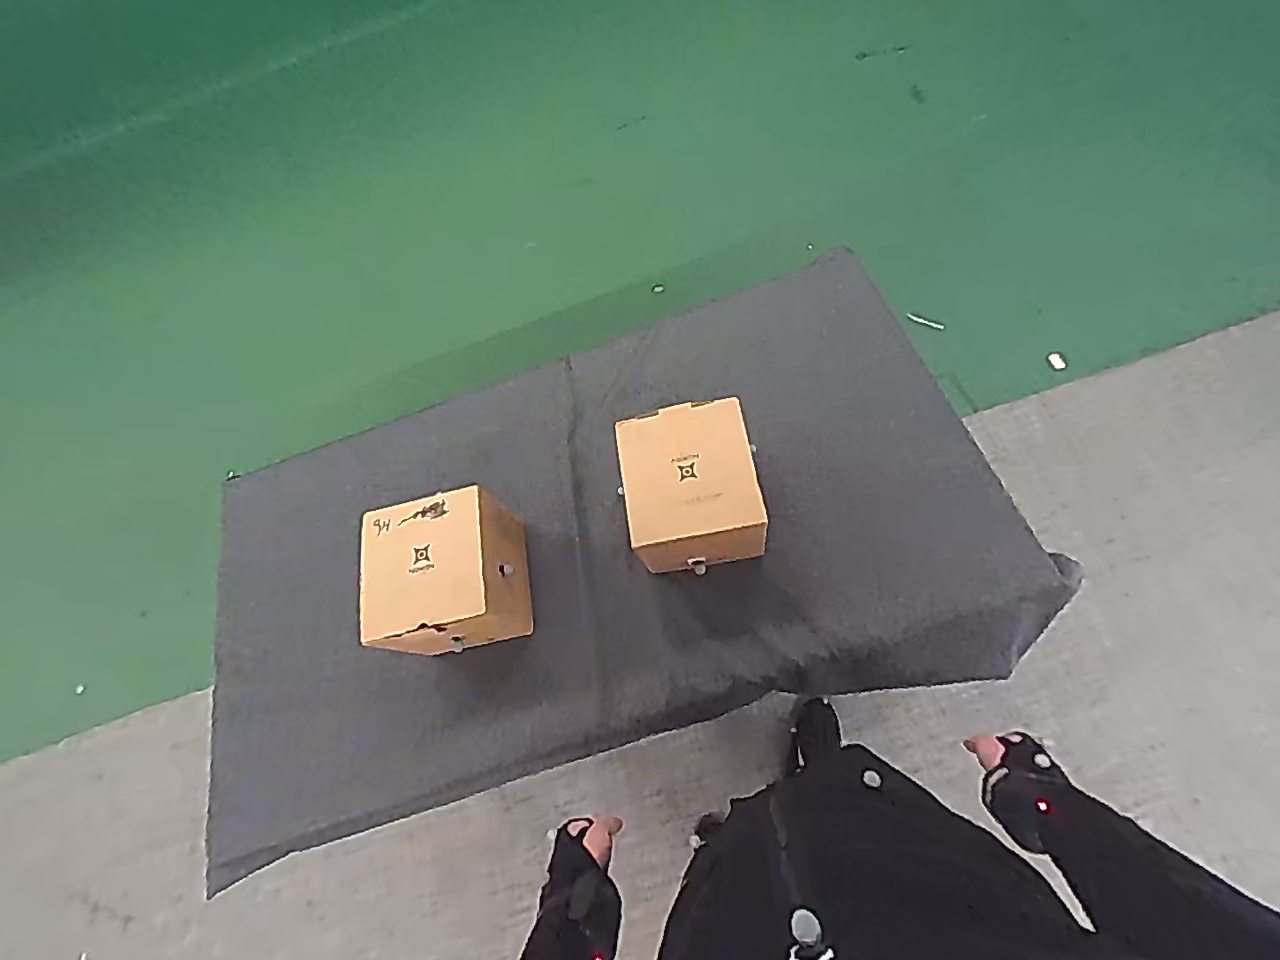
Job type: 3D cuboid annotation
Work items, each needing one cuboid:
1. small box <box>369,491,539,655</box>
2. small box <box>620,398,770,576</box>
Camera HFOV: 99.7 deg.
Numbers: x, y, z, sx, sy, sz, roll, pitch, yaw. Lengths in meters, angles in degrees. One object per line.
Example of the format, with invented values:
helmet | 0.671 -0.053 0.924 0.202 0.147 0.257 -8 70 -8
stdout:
small box | -0.255 0.142 0.763 0.168 0.176 0.179 -17 65 5
small box | 0.076 0.018 0.731 0.168 0.176 0.179 -10 66 9
